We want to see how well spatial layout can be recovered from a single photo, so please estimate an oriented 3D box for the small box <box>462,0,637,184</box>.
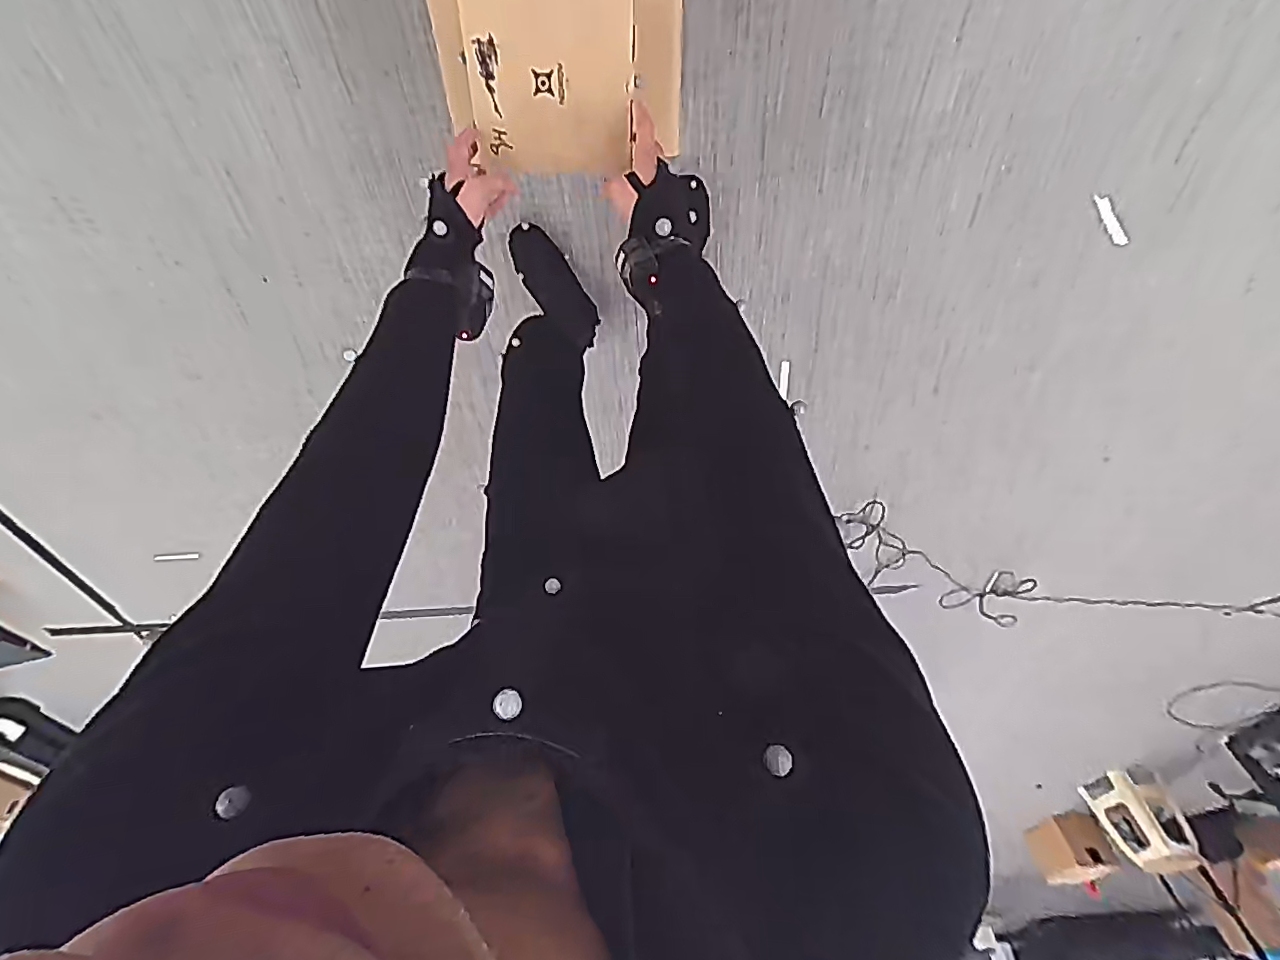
[{"bbox_3d":[-0.097,-0.468,0.647,0.179,0.176,0.168,0,131,-3],"label":"small box"}]
